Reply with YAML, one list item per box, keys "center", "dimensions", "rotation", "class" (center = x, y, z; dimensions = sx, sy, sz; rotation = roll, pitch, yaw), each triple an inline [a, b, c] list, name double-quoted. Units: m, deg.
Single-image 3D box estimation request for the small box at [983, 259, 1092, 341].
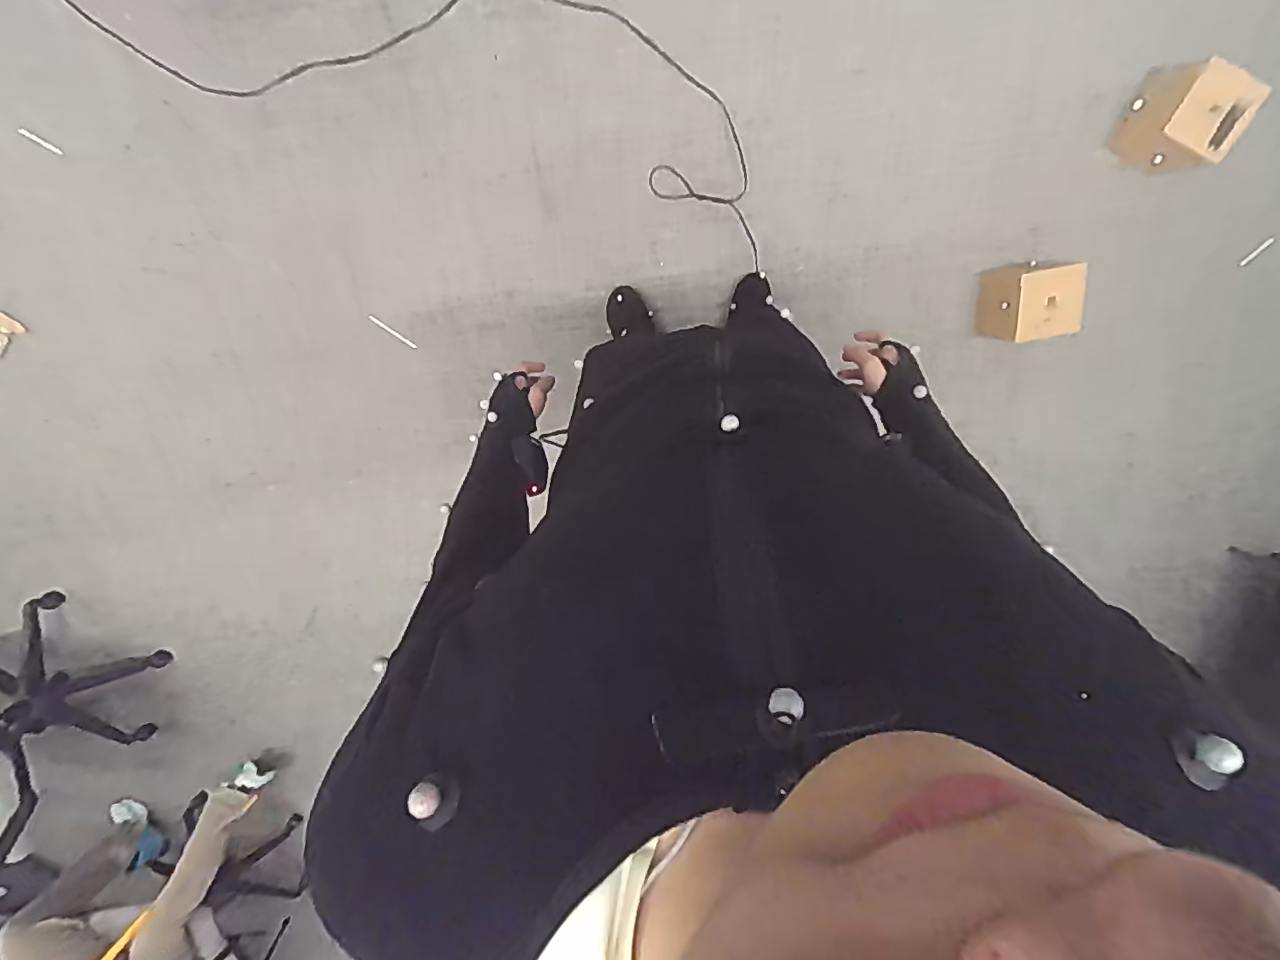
- center: [1.045, -0.481, 1.437]
  dimensions: [0.168, 0.176, 0.179]
  rotation: [-10, 113, 3]
  class: "small box"
